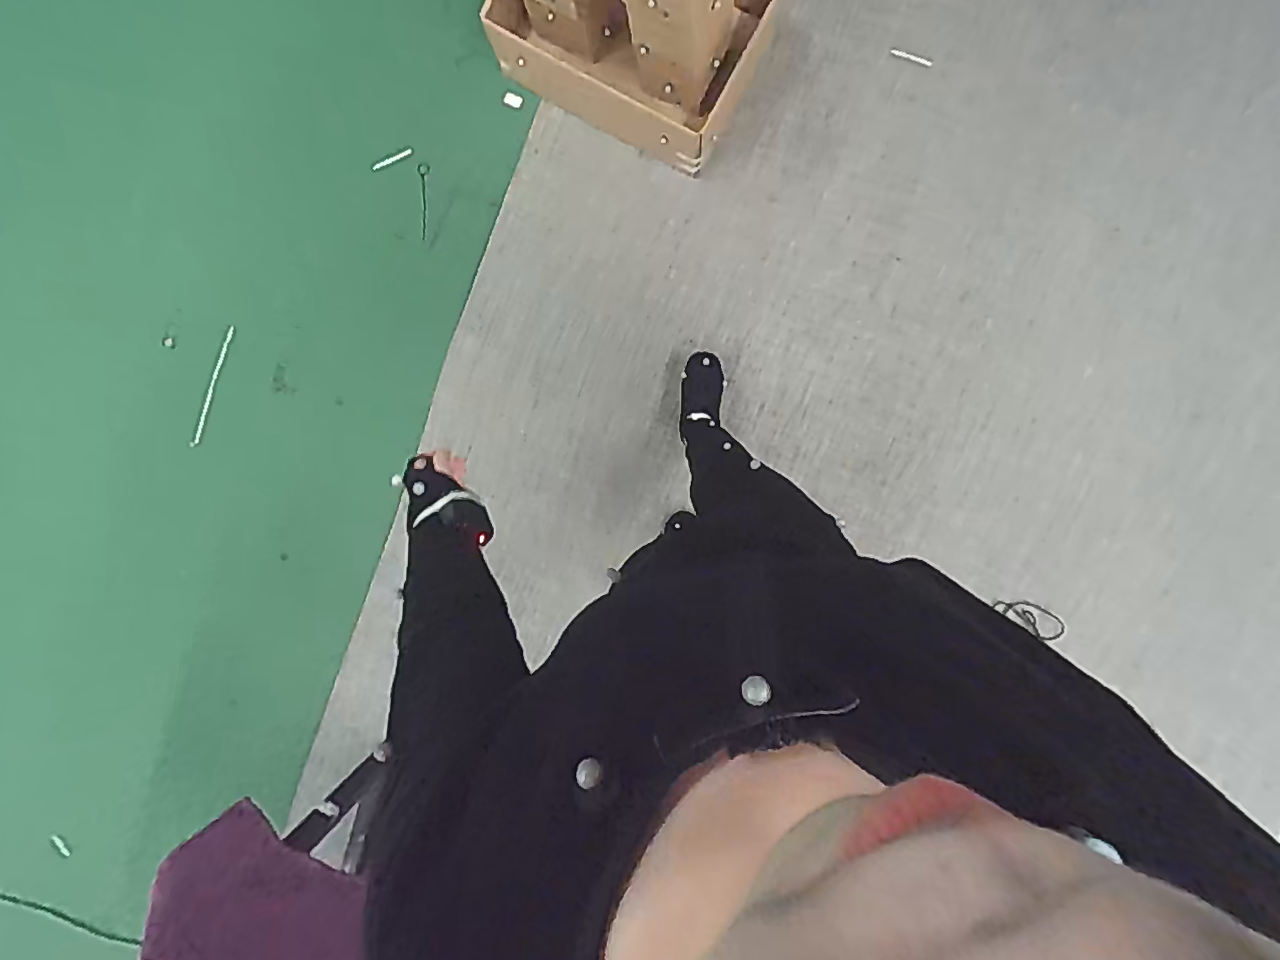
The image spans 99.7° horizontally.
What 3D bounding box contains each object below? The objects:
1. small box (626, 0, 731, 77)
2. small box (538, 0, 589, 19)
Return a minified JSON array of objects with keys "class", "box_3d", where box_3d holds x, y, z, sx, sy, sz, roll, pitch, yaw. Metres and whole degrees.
[{"class":"small box","box_3d":[0.089,-1.008,1.137,0.168,0.176,0.179,28,95,4]},{"class":"small box","box_3d":[-0.176,-1.161,1.156,0.168,0.176,0.179,29,97,2]}]
